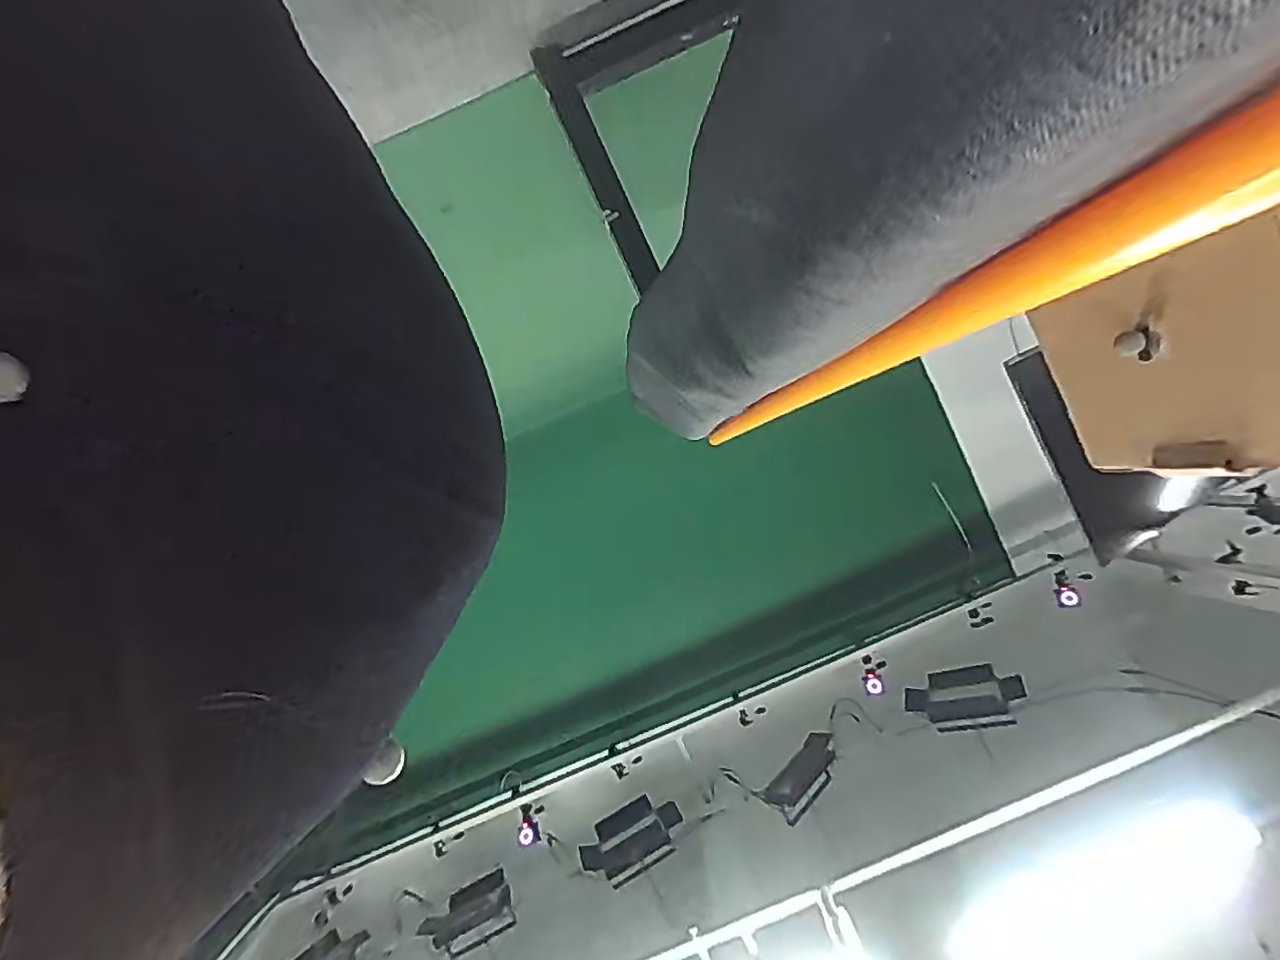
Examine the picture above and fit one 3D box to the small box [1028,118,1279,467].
[{"bbox_3d":[0.391,-0.121,0.326,0.179,0.176,0.168,-26,178,4],"label":"small box"}]
